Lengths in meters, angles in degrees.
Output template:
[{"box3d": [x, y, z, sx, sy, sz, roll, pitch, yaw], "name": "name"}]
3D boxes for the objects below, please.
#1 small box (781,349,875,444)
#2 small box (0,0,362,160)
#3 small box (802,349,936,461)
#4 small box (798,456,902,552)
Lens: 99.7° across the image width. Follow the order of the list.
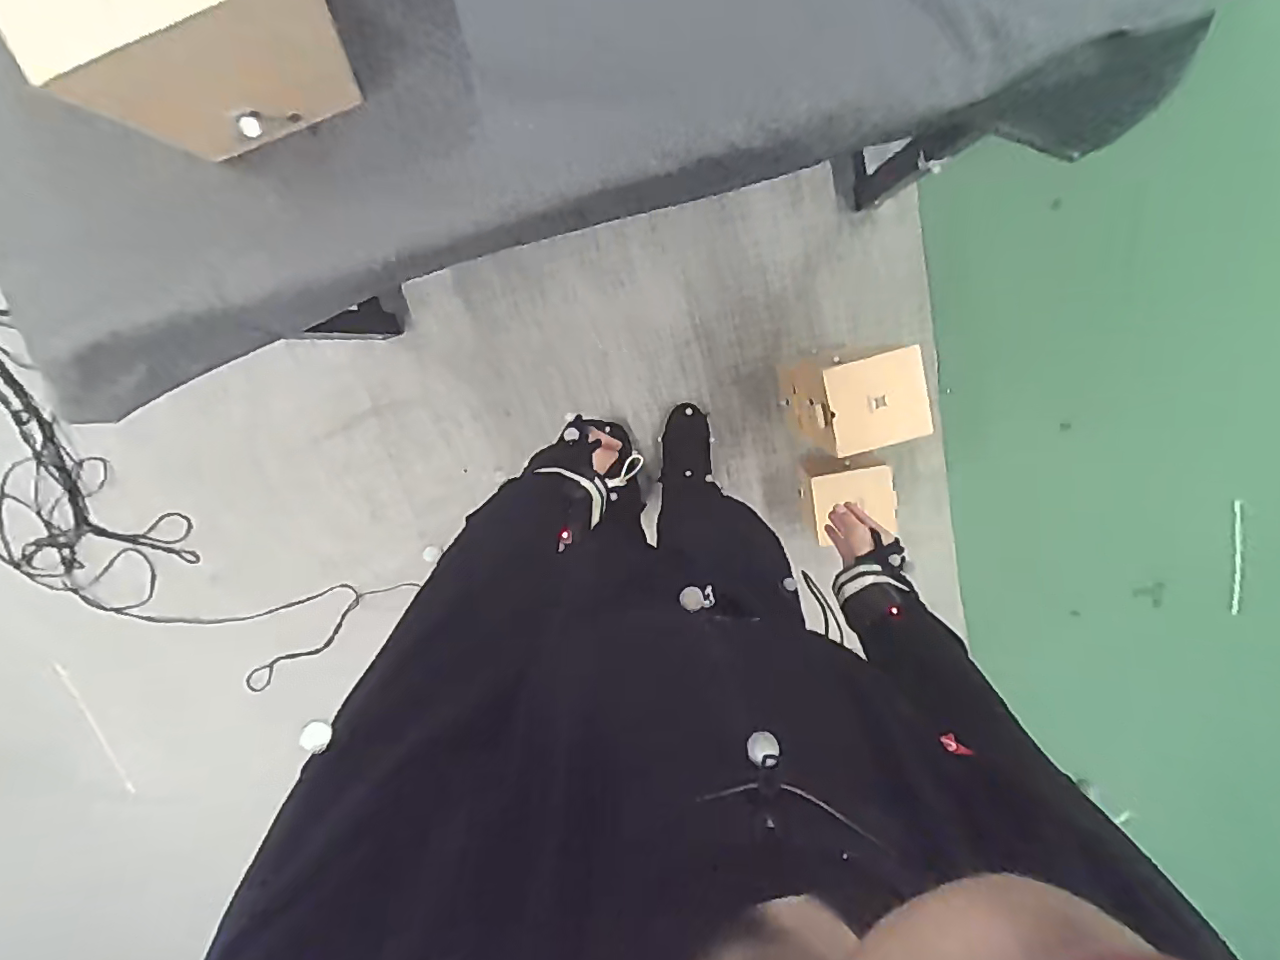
[{"box3d": [0.419, -0.186, 1.196, 0.179, 0.176, 0.168, -14, 101, 6], "name": "small box"}, {"box3d": [-0.367, -0.398, 0.434, 0.168, 0.176, 0.179, -16, 103, 7], "name": "small box"}, {"box3d": [0.430, -0.150, 1.035, 0.179, 0.176, 0.168, -15, 102, 6], "name": "small box"}, {"box3d": [0.479, 0.049, 1.250, 0.179, 0.176, 0.168, -11, 102, 7], "name": "small box"}]
